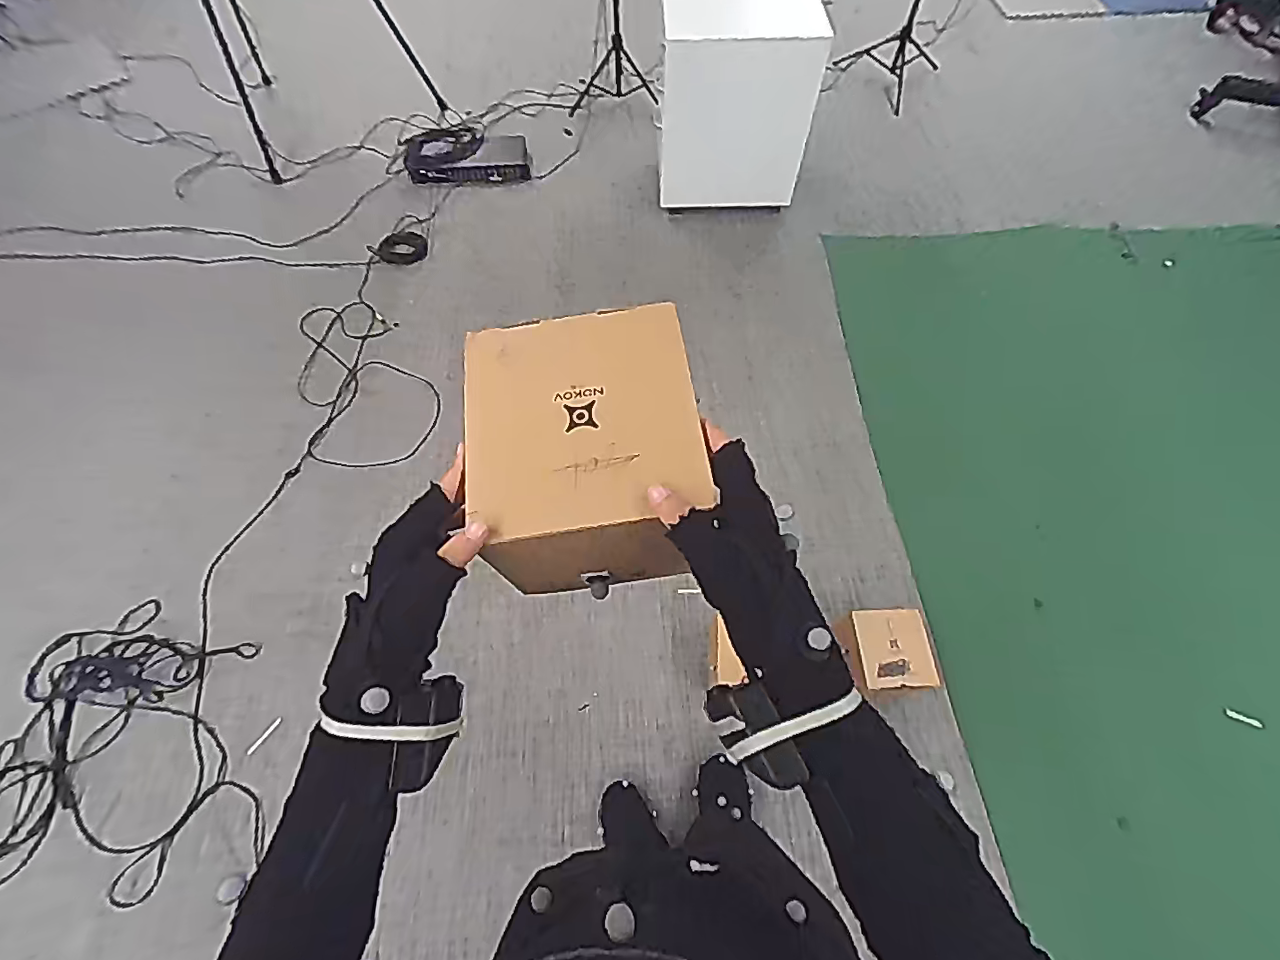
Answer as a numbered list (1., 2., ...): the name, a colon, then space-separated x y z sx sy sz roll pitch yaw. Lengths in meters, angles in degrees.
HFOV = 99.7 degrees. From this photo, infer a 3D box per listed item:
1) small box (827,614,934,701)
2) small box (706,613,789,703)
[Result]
1. small box: 0.570 0.433 1.304 0.168 0.176 0.179 -2 61 -2
2. small box: 0.251 0.432 1.301 0.168 0.176 0.179 3 62 1
